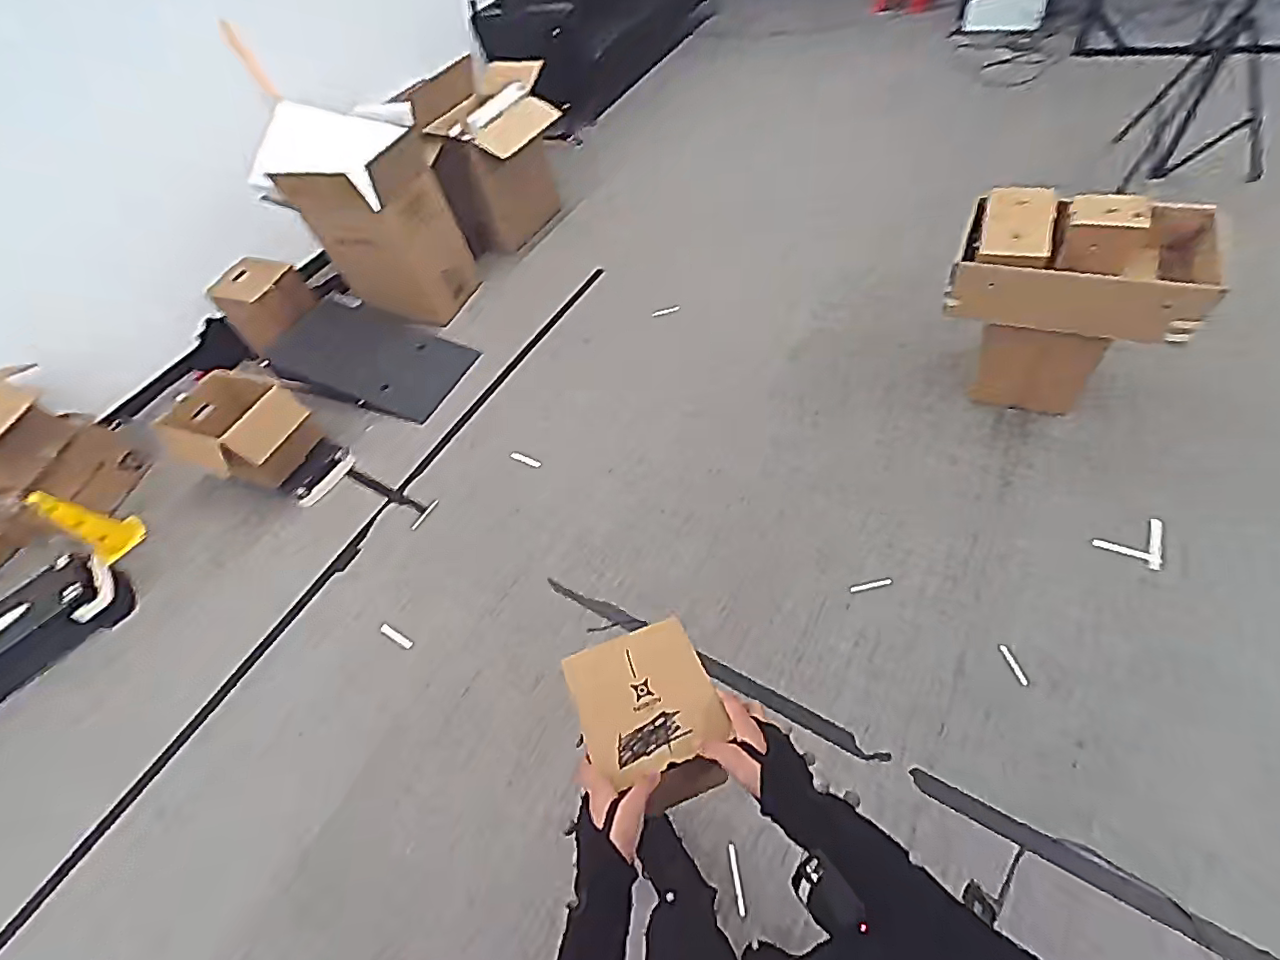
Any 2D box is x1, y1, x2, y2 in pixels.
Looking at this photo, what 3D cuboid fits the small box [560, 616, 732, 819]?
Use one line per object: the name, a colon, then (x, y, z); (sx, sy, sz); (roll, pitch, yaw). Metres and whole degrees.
small box: (0.007, 0.316, 0.710); (0.168, 0.176, 0.179); (-17, 48, -12)
